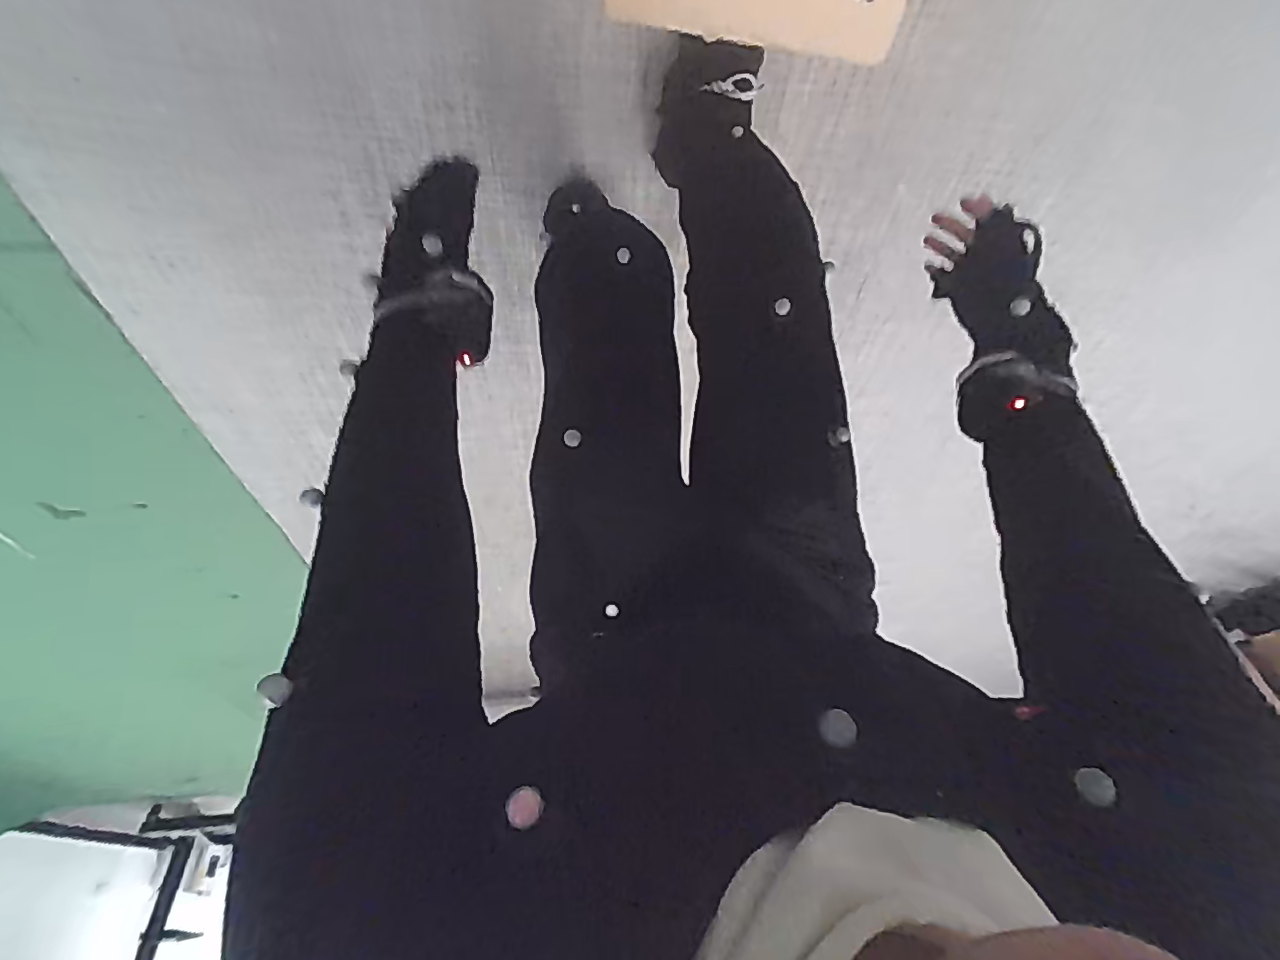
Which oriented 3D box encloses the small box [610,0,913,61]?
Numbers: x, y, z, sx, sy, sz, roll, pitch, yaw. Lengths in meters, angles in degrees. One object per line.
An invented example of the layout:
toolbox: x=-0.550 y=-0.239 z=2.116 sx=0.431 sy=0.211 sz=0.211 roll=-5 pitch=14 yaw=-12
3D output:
small box: x=0.072 y=-0.375 z=0.313 sx=0.179 sy=0.176 sz=0.168 roll=-2 pitch=142 yaw=-9
